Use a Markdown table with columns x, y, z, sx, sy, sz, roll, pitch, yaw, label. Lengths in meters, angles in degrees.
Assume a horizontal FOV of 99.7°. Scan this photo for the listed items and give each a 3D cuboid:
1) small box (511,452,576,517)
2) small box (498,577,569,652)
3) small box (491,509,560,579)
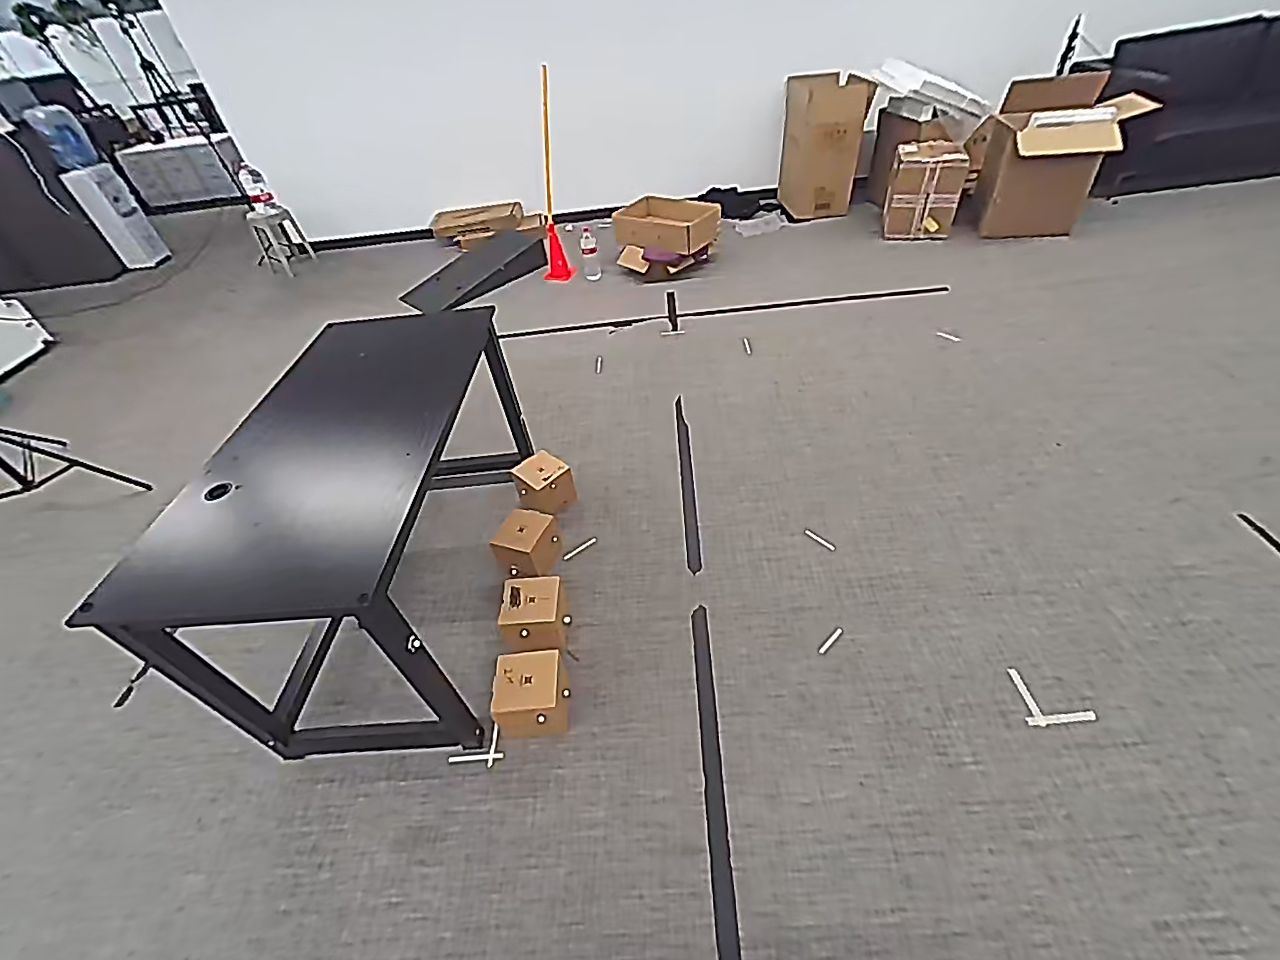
| x | y | z | sx | sy | sz | roll | pitch | yaw | label |
| --- | --- | --- | --- | --- | --- | --- | --- | --- | --- |
| -0.380 | 0.021 | 2.144 | 0.179 | 0.176 | 0.168 | 29 | 55 | 33 | small box |
| -0.331 | 0.428 | 1.709 | 0.179 | 0.176 | 0.168 | -4 | 43 | 2 | small box |
| -0.400 | 0.233 | 1.928 | 0.168 | 0.176 | 0.179 | 10 | 47 | 19 | small box |
